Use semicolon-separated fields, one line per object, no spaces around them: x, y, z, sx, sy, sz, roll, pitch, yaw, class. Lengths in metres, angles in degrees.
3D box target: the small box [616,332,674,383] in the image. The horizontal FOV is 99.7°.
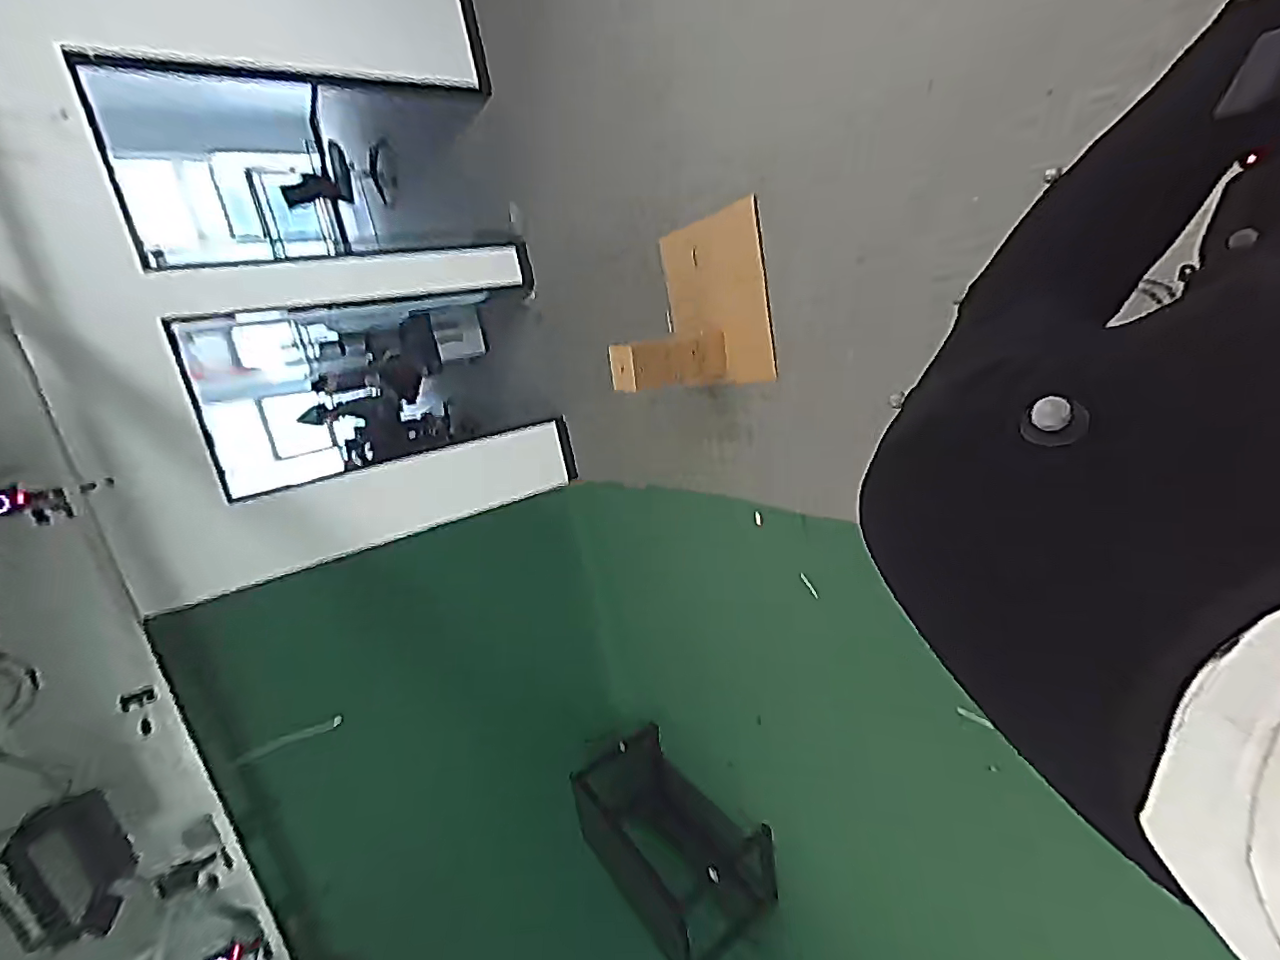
0.025;-0.501;2.195;0.168;0.176;0.179;21;123;53;small box
